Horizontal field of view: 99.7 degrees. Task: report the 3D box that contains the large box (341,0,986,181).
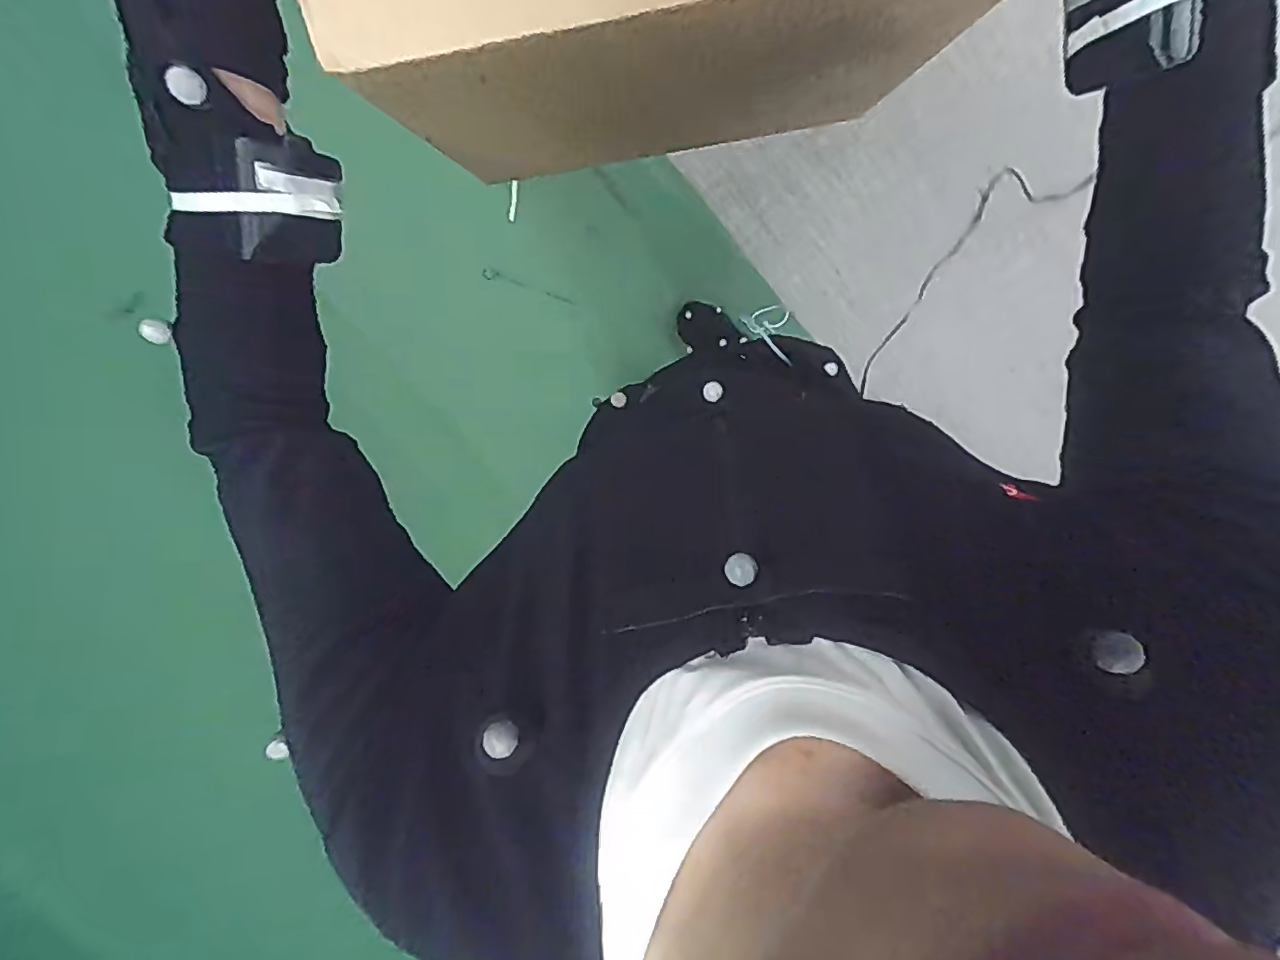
[{"bbox_3d":[0.013,-0.445,0.382,0.408,0.320,0.320,-9,109,2],"label":"large box"}]
